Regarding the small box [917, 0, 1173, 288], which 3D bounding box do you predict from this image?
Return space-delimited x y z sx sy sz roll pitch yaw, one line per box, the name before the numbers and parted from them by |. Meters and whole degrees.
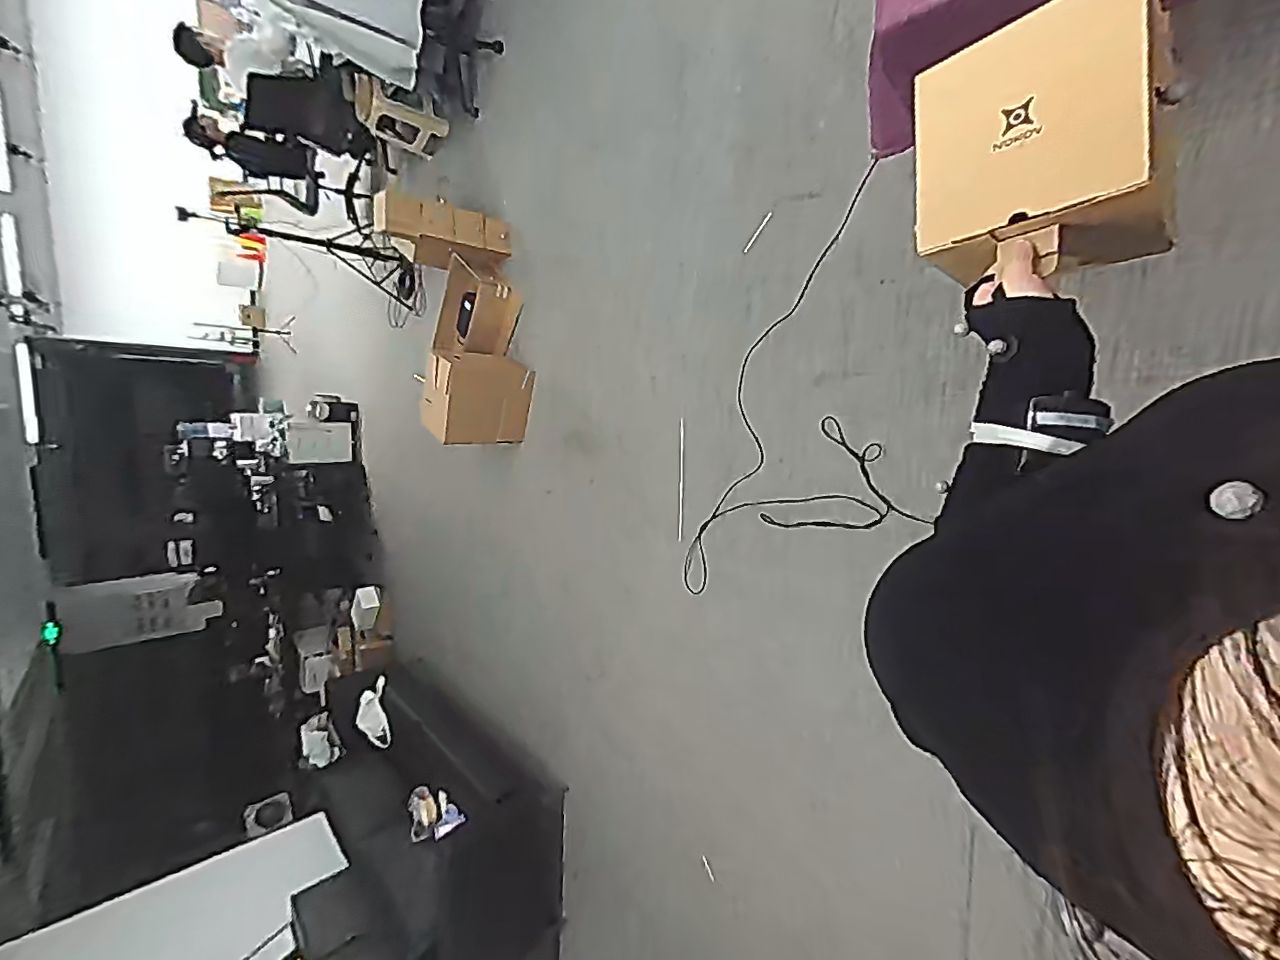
small box | 0.380 -0.305 0.511 0.168 0.176 0.179 -1 90 48
